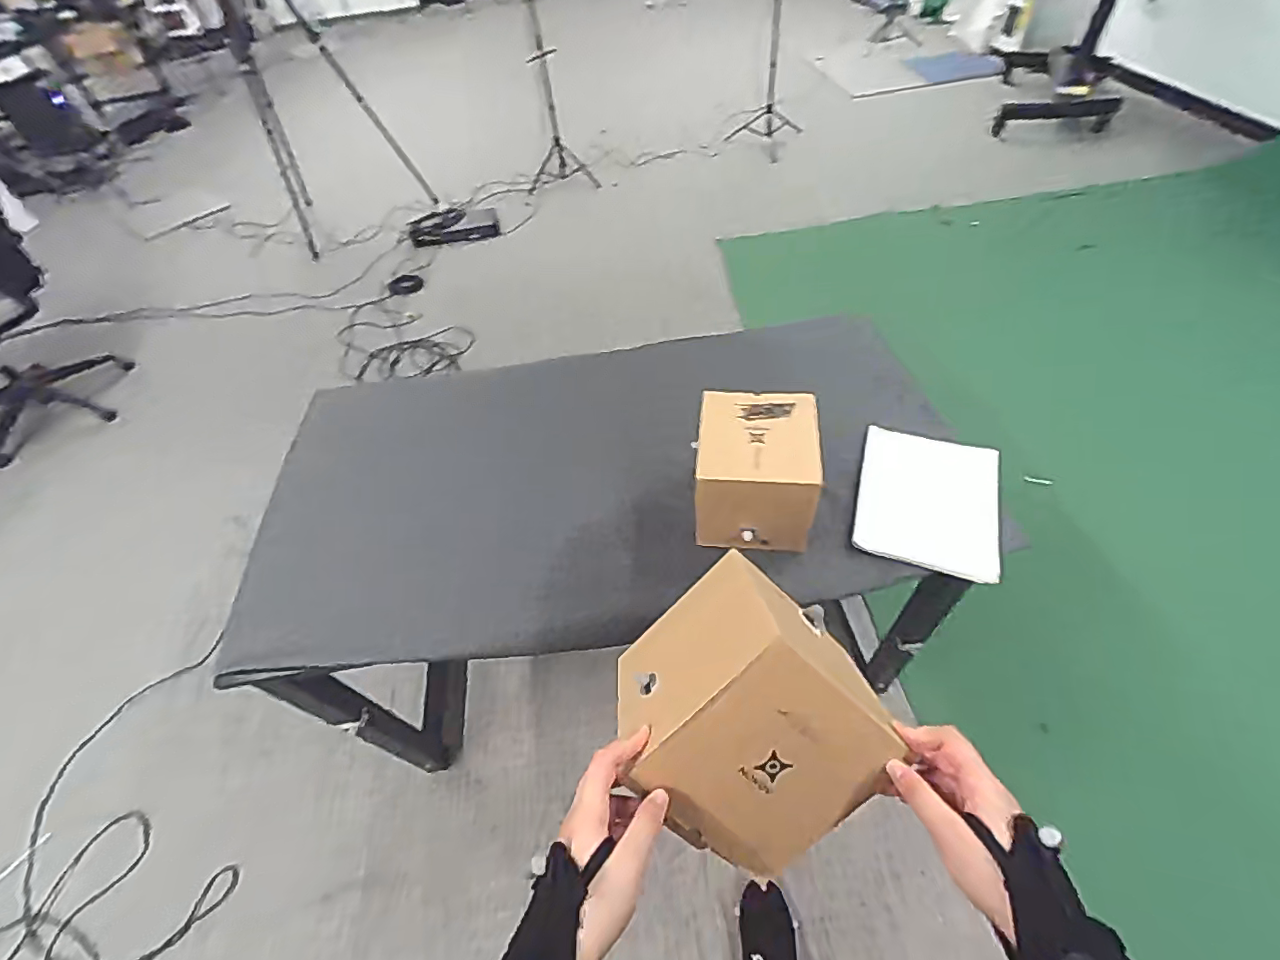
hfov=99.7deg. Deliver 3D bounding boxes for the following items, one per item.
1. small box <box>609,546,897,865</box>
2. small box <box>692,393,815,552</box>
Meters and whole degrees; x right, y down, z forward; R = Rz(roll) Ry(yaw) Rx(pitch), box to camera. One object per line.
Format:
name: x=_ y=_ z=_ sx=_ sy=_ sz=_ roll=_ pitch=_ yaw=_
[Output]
small box: x=0.088 y=0.196 z=0.507 sx=0.179 sy=0.168 sz=0.176 roll=-49 pitch=14 yaw=9
small box: x=0.168 y=-0.012 z=0.831 sx=0.168 sy=0.176 sz=0.179 roll=2 pitch=52 yaw=10
